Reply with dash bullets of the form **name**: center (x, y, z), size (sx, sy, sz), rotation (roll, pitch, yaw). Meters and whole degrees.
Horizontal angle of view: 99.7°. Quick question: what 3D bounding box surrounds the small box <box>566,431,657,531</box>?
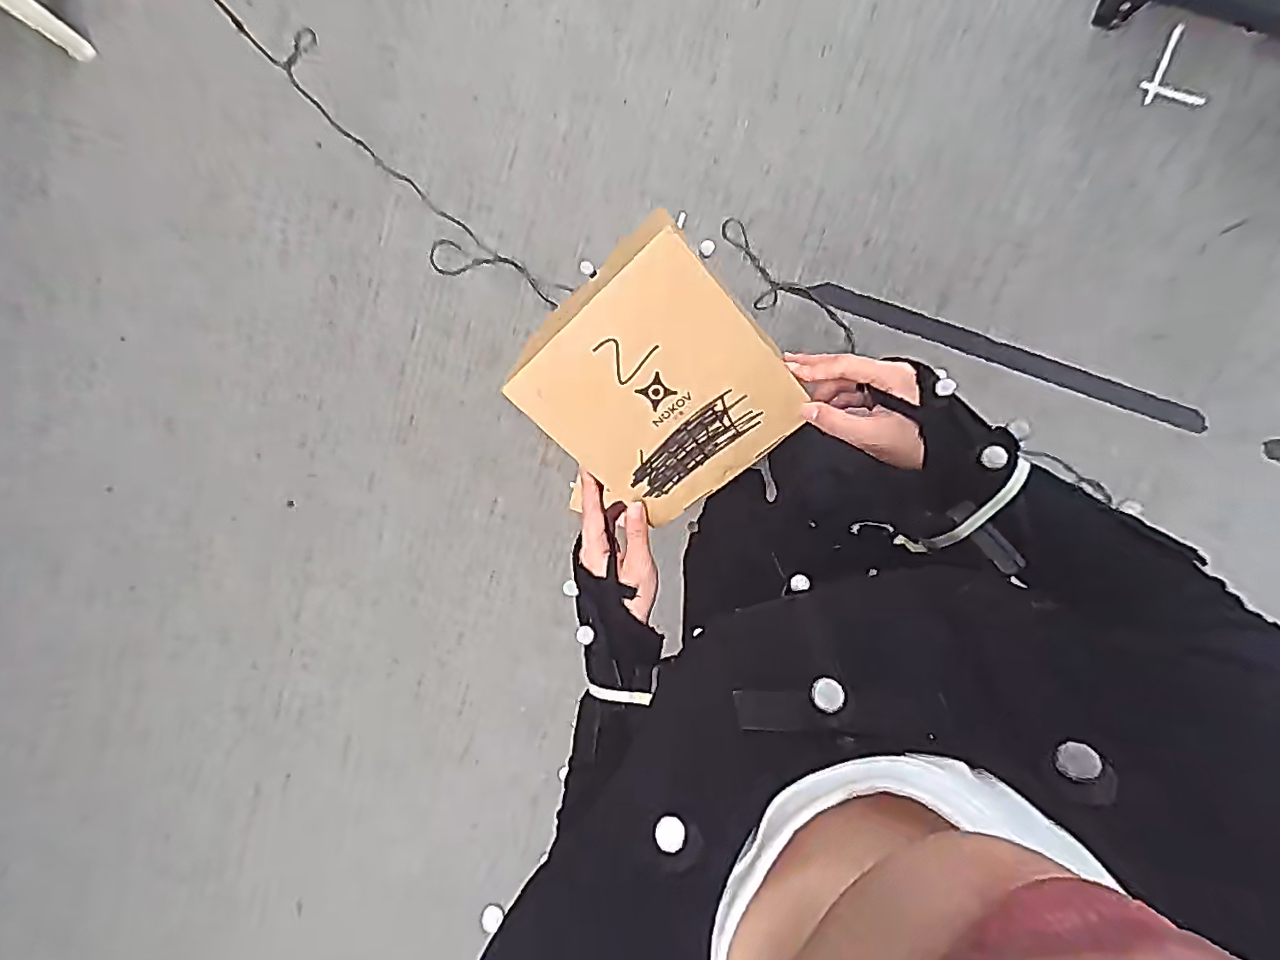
- **small box**: center (-0.059, -0.004, 1.275), size (0.168, 0.176, 0.179), rotation (18, 101, 0)

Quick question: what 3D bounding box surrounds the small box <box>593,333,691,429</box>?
- **small box**: center (0.007, -0.222, 1.235), size (0.179, 0.176, 0.168), rotation (17, 100, 0)
